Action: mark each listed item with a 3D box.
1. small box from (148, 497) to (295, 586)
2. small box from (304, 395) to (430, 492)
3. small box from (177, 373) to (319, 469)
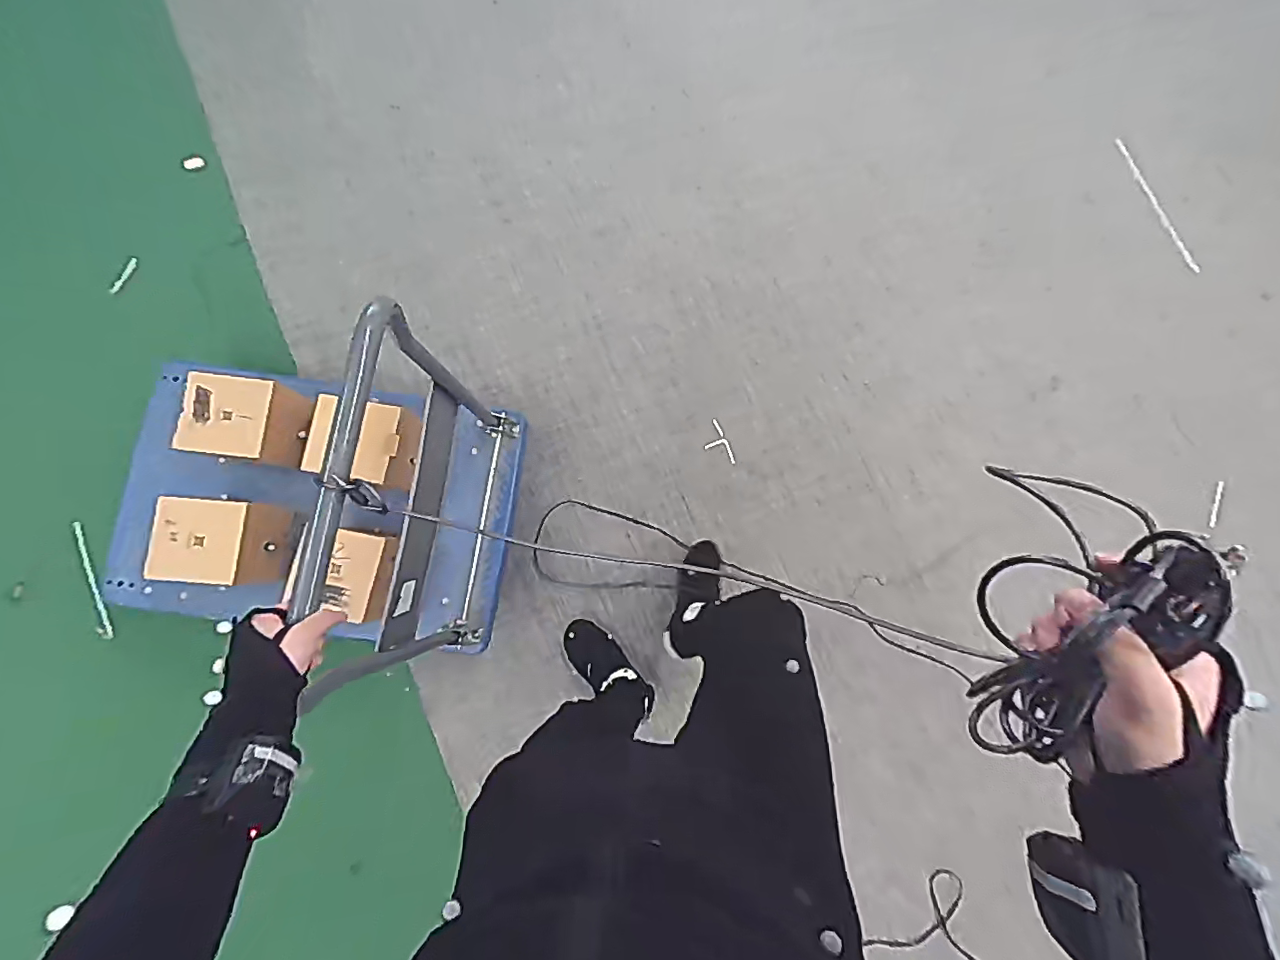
[{"bbox_3d":[-0.877,0.132,1.152,0.179,0.176,0.168,5,81,-2],"label":"small box"},{"bbox_3d":[-0.591,-0.073,1.192,0.179,0.176,0.168,10,82,-2],"label":"small box"},{"bbox_3d":[-0.849,-0.122,1.188,0.179,0.176,0.168,7,83,-2],"label":"small box"}]
